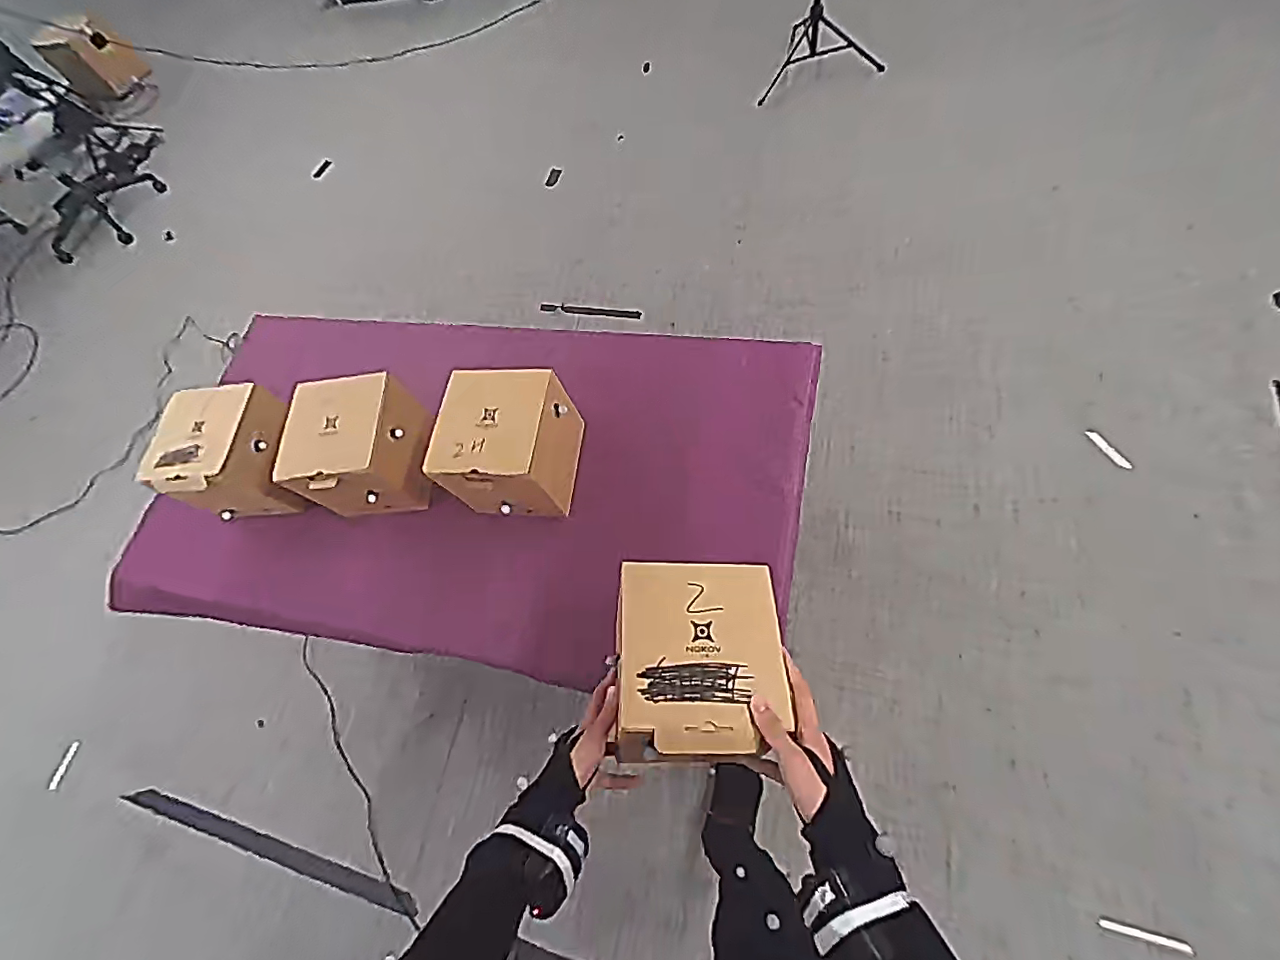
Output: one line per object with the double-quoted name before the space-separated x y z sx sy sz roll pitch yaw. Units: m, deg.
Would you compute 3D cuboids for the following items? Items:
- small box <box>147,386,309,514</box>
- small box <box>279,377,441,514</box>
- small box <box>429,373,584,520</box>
"small box" -0.703 -0.043 0.965 0.168 0.176 0.179 -4 65 10
"small box" -0.456 -0.048 0.915 0.168 0.176 0.179 -5 66 10
"small box" -0.197 -0.050 0.856 0.168 0.176 0.179 2 68 14
